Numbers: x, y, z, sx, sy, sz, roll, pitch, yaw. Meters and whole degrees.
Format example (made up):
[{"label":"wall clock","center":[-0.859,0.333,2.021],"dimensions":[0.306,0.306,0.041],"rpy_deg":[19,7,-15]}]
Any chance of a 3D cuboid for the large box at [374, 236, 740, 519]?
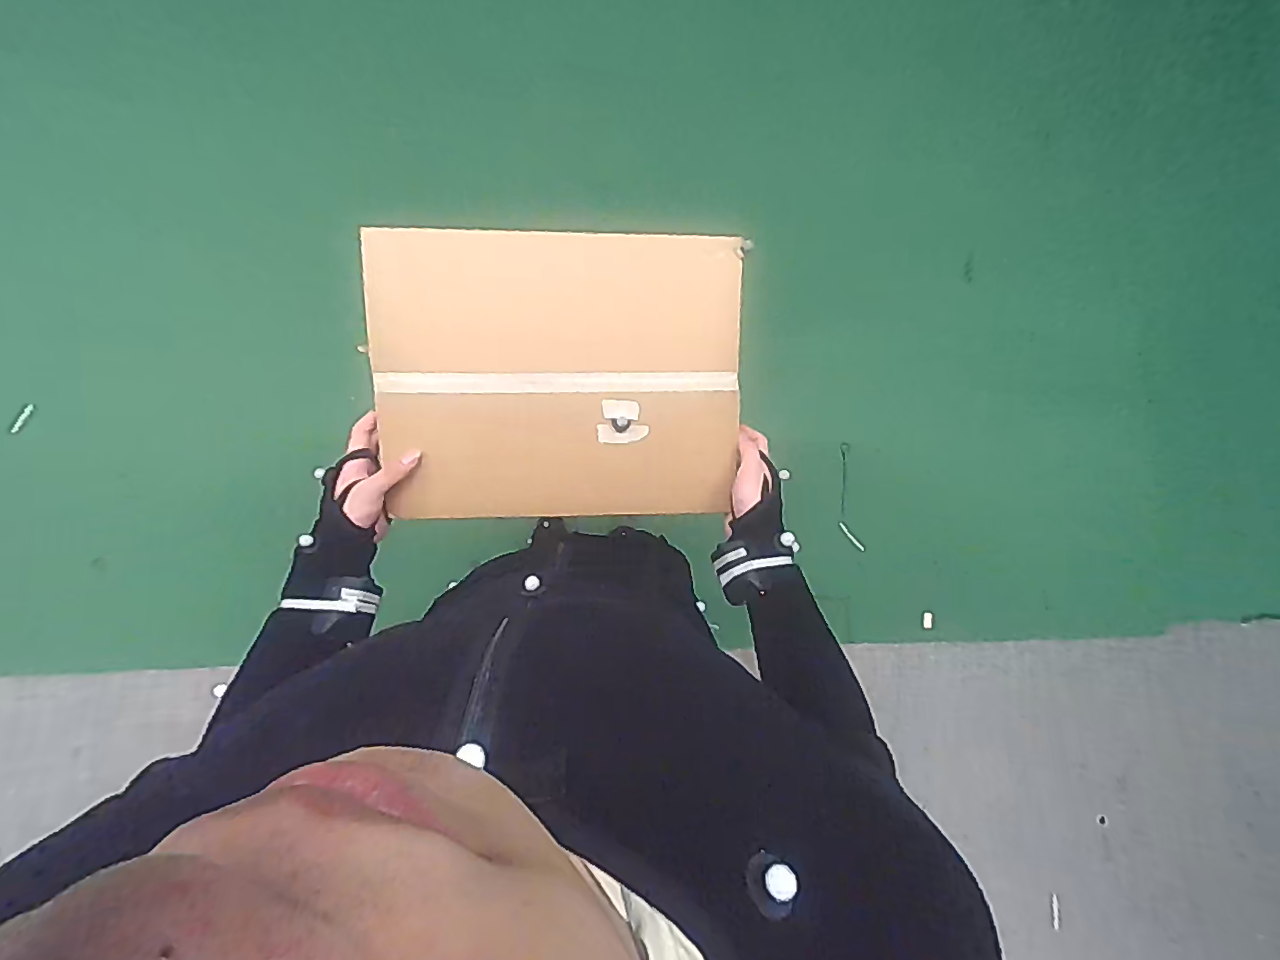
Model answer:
[{"label":"large box","center":[-0.099,-0.139,0.761],"dimensions":[0.408,0.320,0.320],"rpy_deg":[-2,101,-6]}]
